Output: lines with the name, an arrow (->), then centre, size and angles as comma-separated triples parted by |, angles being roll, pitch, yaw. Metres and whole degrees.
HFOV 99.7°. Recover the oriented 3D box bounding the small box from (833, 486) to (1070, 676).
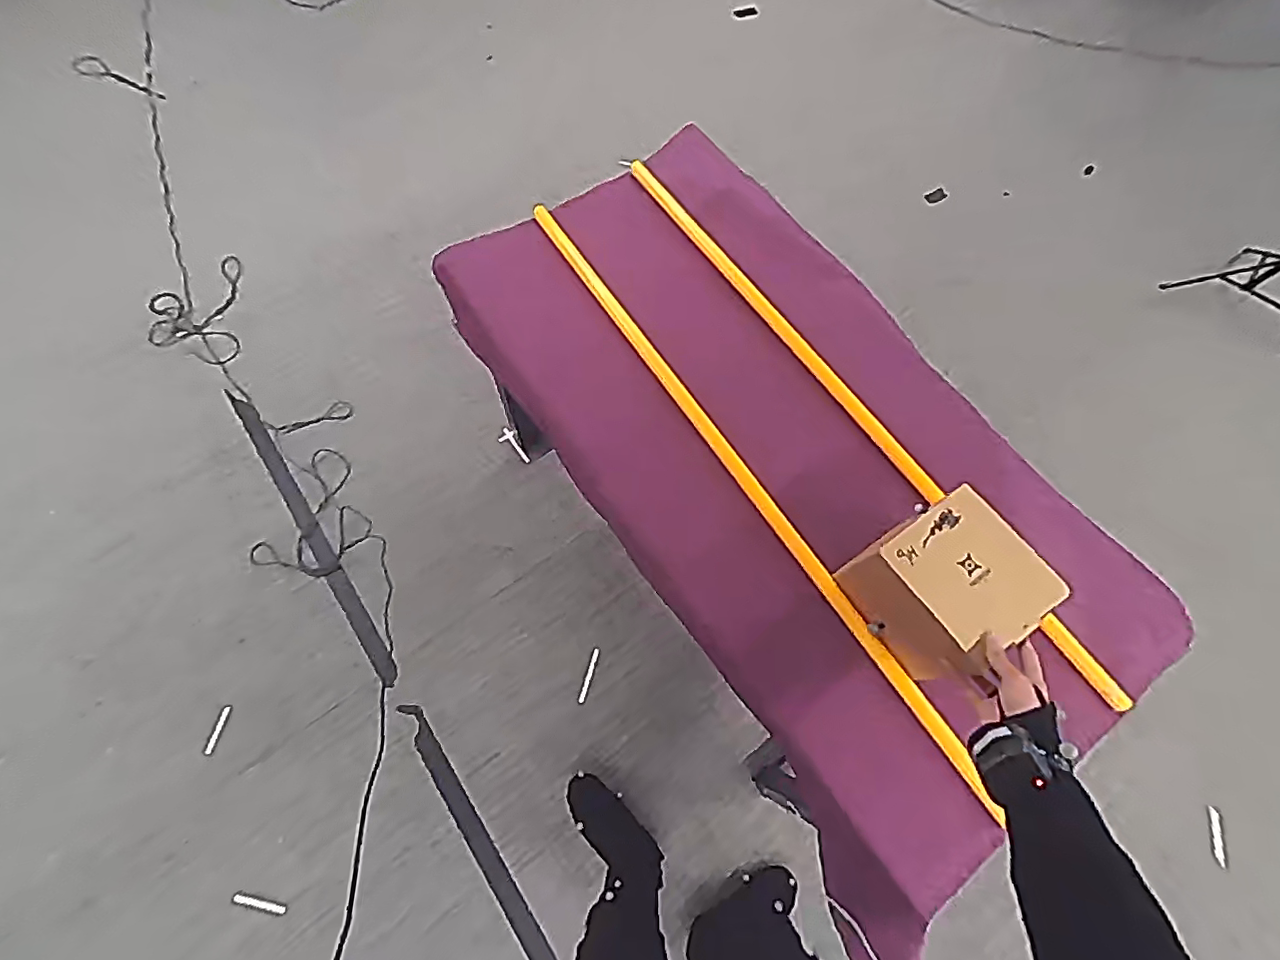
small box -> 0.399, 0.142, 0.727 | 0.168, 0.176, 0.179 | -32, 73, -15
